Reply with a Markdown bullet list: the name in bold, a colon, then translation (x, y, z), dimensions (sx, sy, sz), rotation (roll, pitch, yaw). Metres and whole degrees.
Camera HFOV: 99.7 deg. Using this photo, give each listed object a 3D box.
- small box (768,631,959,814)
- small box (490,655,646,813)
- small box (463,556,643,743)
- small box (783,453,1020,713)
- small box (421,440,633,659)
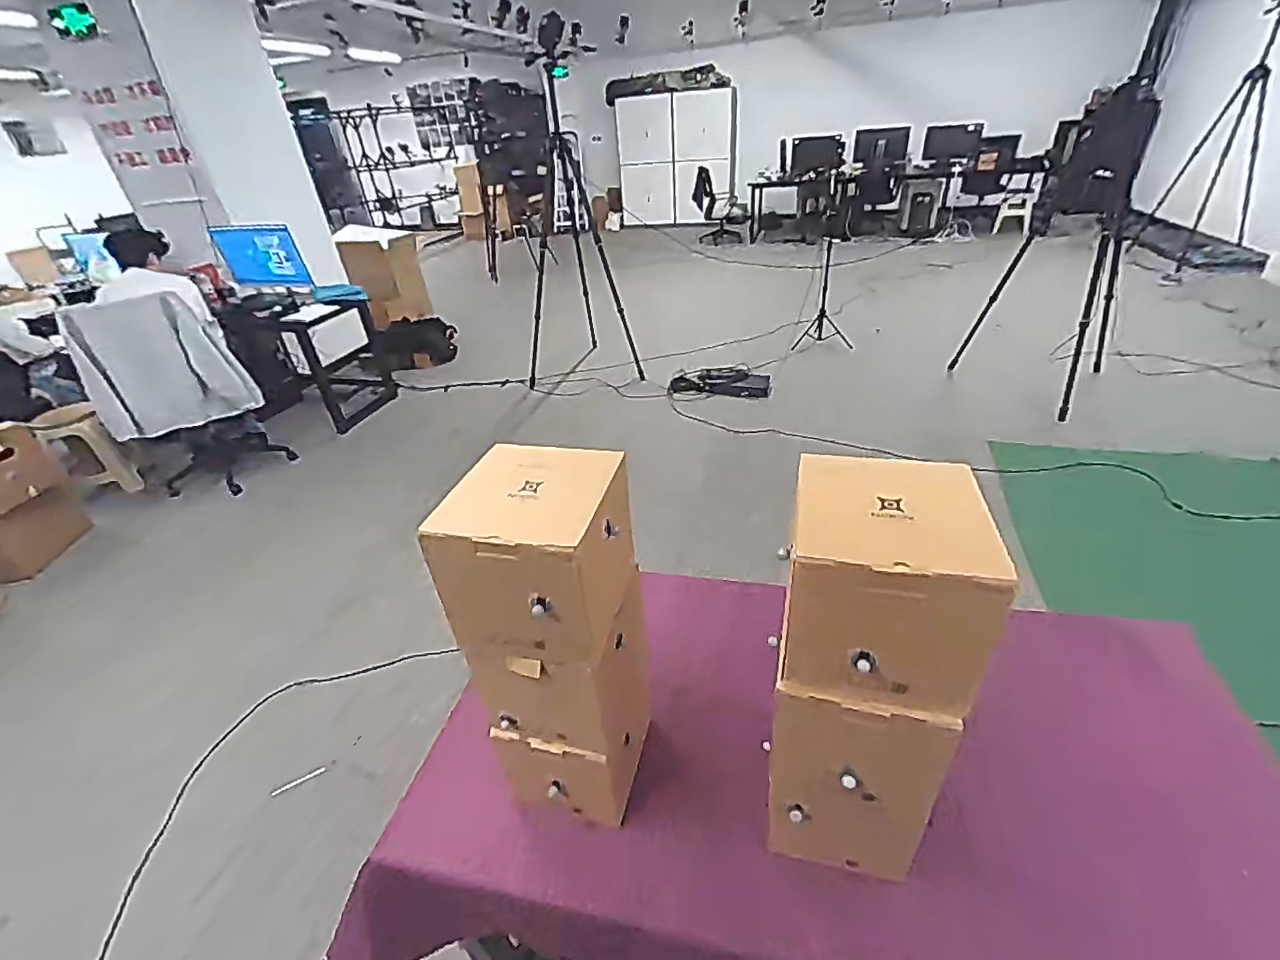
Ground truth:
- **small box**: translation (0.242, 0.236, 0.620), dimensions (0.168, 0.176, 0.179), rotation (7, 35, 17)
- **small box**: translation (-0.091, 0.348, 0.791), dimensions (0.168, 0.176, 0.179), rotation (7, 36, 14)
- **small box**: translation (-0.097, 0.207, 0.704), dimensions (0.168, 0.176, 0.179), rotation (7, 34, 16)
- **small box**: translation (0.236, 0.094, 0.539), dimensions (0.168, 0.176, 0.179), rotation (6, 35, 15)
- **small box**: translation (-0.107, 0.074, 0.611), dimensions (0.168, 0.176, 0.179), rotation (6, 35, 14)
